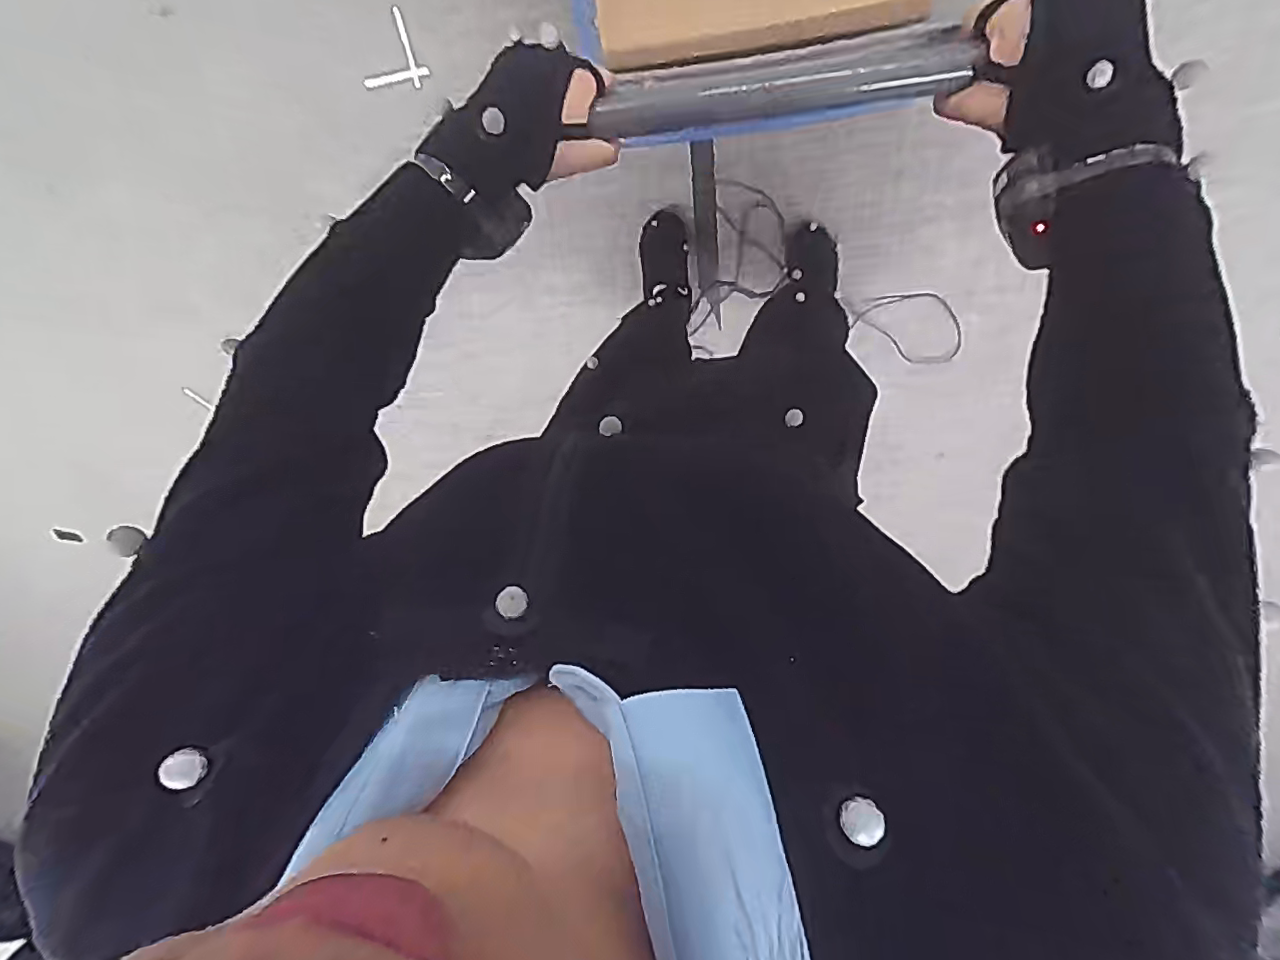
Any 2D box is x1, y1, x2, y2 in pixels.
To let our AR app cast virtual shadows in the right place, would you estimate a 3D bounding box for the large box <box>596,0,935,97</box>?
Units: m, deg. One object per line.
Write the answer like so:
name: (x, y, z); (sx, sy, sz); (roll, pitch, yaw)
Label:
large box: (0.148, -0.736, 0.719); (0.408, 0.320, 0.320); (-2, 123, 9)
